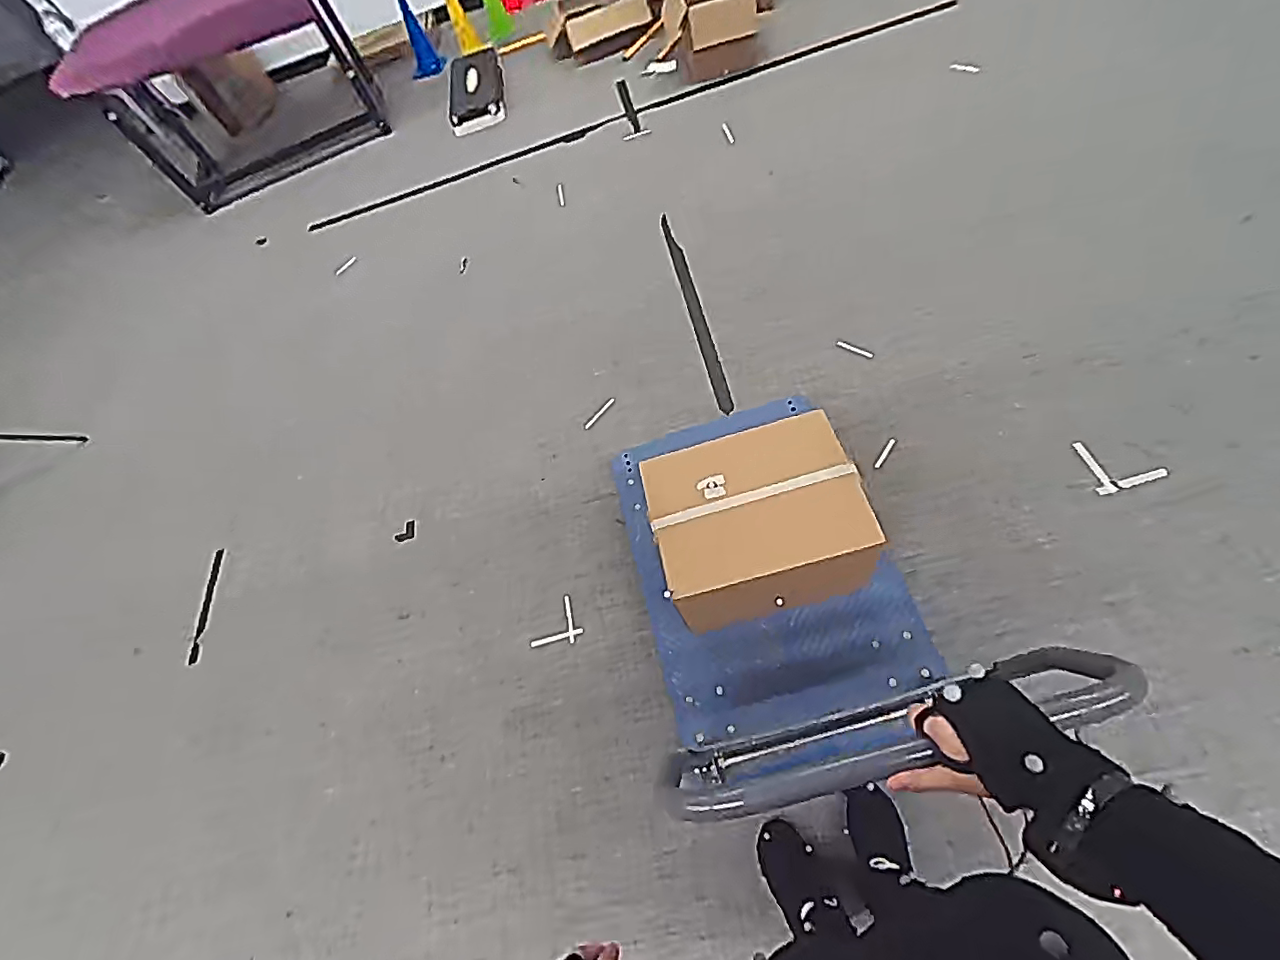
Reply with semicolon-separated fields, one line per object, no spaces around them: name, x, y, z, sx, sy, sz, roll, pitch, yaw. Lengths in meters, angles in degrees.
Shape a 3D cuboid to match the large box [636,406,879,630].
large box;0.246;0.100;1.186;0.408;0.320;0.320;-17;59;6
